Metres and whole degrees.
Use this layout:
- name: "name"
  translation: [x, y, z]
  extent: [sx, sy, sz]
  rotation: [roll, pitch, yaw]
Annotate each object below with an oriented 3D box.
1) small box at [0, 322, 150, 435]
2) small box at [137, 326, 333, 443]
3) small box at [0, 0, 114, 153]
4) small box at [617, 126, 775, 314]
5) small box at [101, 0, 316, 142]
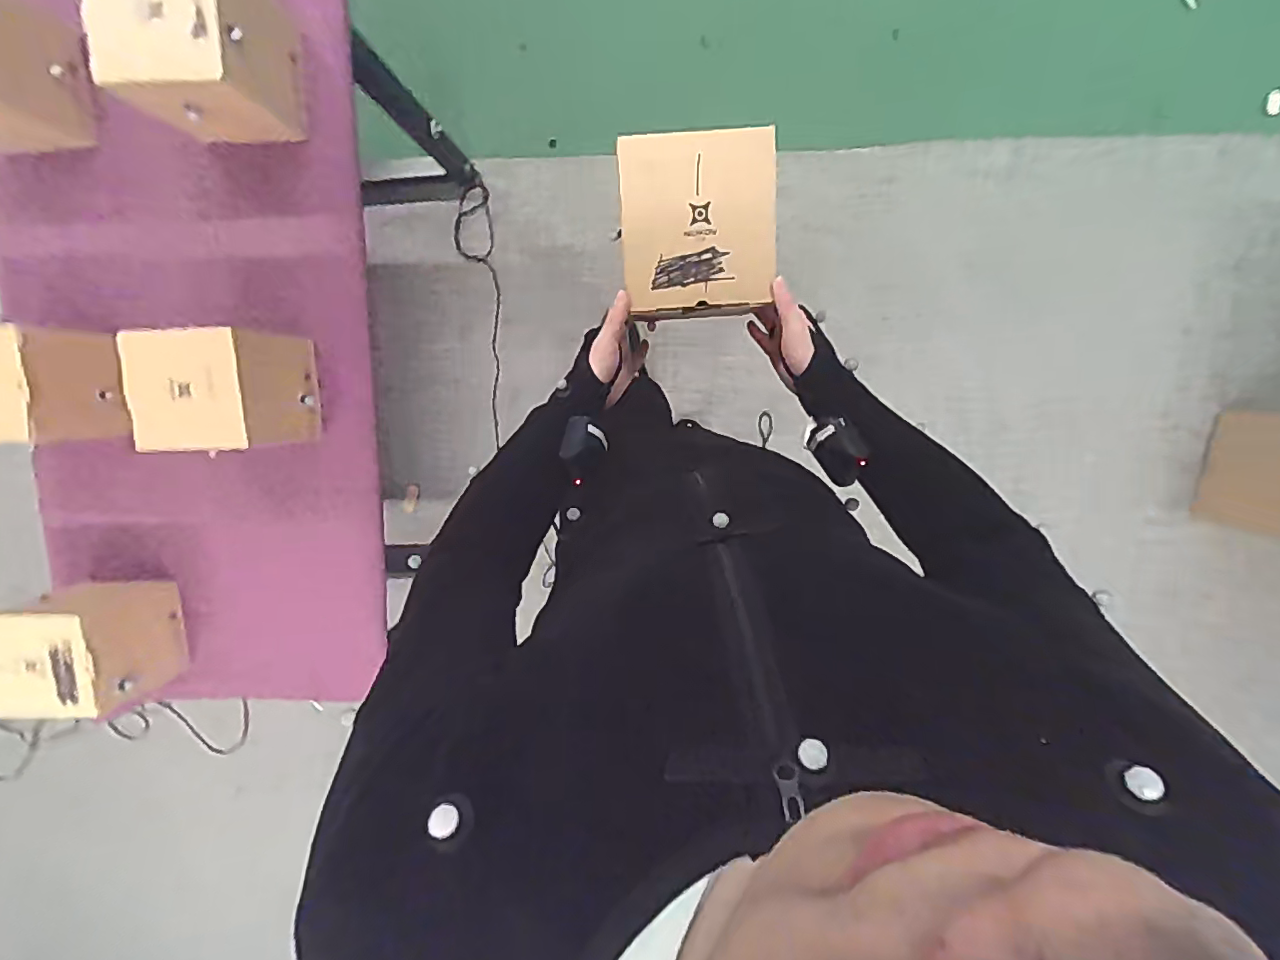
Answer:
- name: "small box"
  translation: [-0.950, -0.162, 0.883]
  extent: [0.179, 0.176, 0.168]
  rotation: [1, 99, 3]
- name: "small box"
  translation: [-0.625, -0.148, 0.854]
  extent: [0.179, 0.176, 0.168]
  rotation: [0, 100, 6]
- name: "small box"
  translation: [-0.961, -0.612, 0.808]
  extent: [0.179, 0.176, 0.168]
  rotation: [-1, 102, 5]
- name: "small box"
  translation: [0.062, -0.297, 0.656]
  extent: [0.168, 0.176, 0.179]
  rotation: [-3, 103, 1]
- name: "small box"
  translation: [-0.607, -0.609, 0.776]
  extent: [0.179, 0.176, 0.168]
  rotation: [1, 100, 5]
